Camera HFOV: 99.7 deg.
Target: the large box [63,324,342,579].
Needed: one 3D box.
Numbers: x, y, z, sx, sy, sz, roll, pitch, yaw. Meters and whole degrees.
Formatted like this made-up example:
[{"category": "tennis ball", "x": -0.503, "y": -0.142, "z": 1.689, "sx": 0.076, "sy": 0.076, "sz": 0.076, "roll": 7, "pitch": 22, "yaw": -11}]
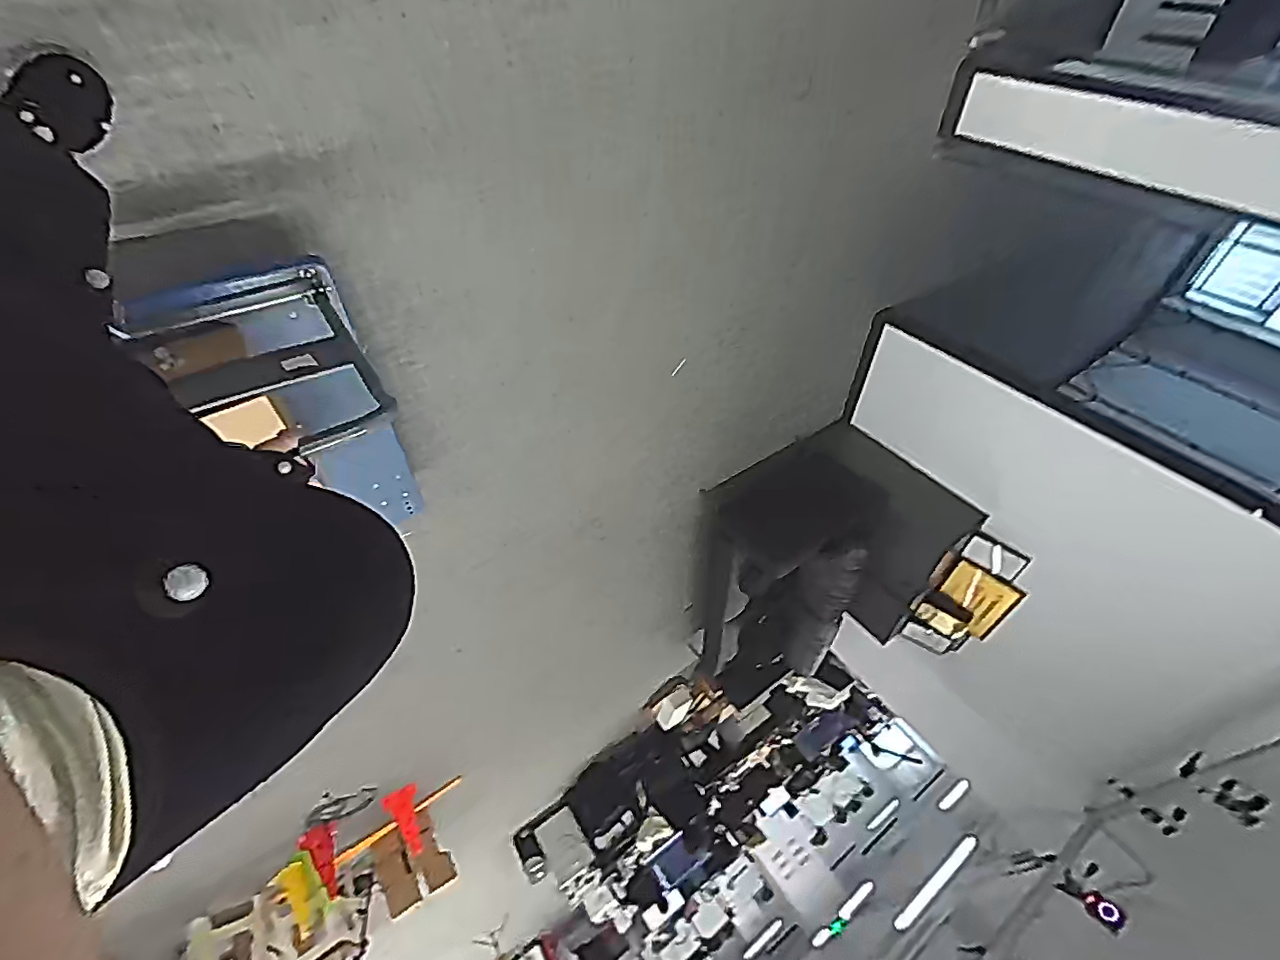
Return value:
[{"category": "large box", "x": -0.942, "y": -0.064, "z": 1.200, "sx": 0.320, "sy": 0.320, "sz": 0.408, "roll": -28, "pitch": 143, "yaw": -24}]
